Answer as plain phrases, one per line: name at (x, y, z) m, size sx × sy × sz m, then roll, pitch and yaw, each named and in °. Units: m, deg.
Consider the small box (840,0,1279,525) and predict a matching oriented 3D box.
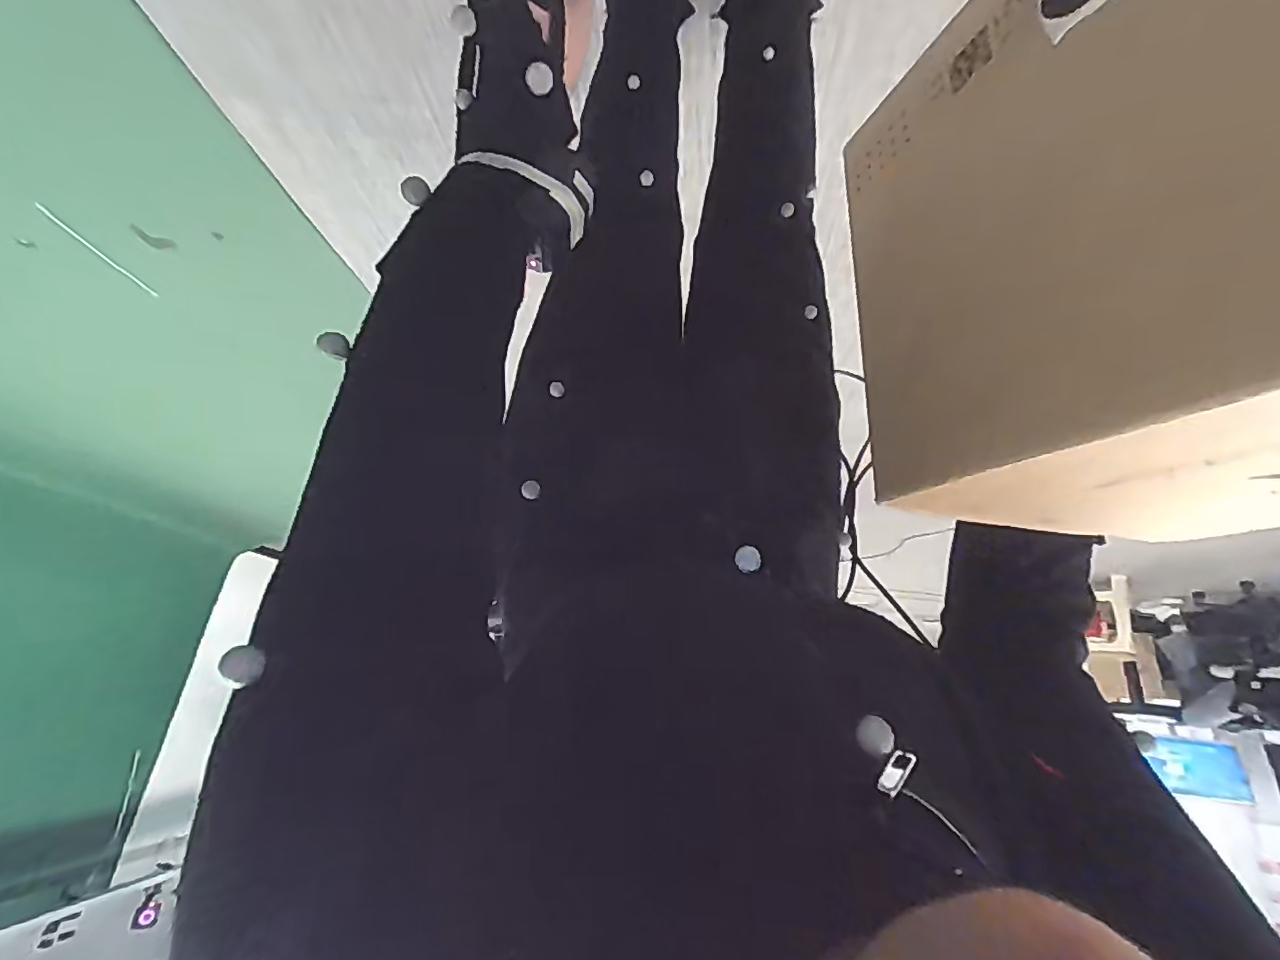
small box at (0.193, -0.089, 0.181) m, size 0.179 × 0.176 × 0.168 m, roll 8°, pitch 161°, yaw -18°
